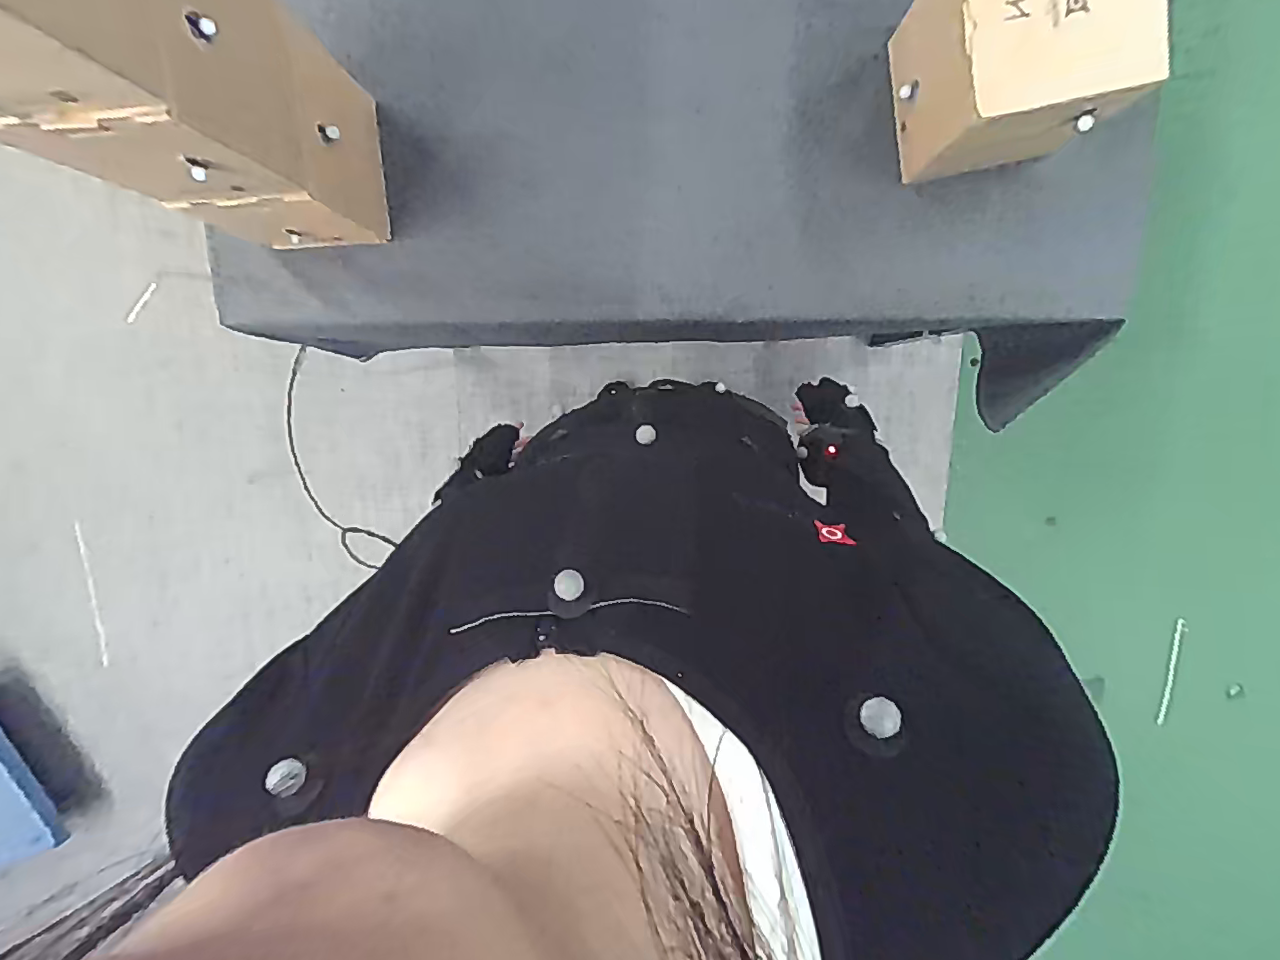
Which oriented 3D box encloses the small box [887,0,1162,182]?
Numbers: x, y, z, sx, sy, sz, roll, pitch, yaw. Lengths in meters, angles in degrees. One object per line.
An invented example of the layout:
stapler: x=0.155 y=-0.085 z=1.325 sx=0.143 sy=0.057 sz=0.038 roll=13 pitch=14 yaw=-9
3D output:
small box: x=0.389 y=-0.445 z=0.572 sx=0.179 sy=0.176 sz=0.168 roll=-10 pitch=99 yaw=5

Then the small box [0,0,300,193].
small box: x=-0.428 y=-0.363 z=0.466 sx=0.168 sy=0.176 sz=0.179 roll=-1 pitch=100 yaw=2

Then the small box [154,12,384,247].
small box: x=-0.423 y=-0.387 z=0.627 sx=0.168 sy=0.176 sz=0.179 roll=-2 pitch=100 yaw=3

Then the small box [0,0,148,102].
small box: x=-0.435 y=-0.343 z=0.303 sx=0.168 sy=0.176 sz=0.179 roll=-3 pitch=99 yaw=2
